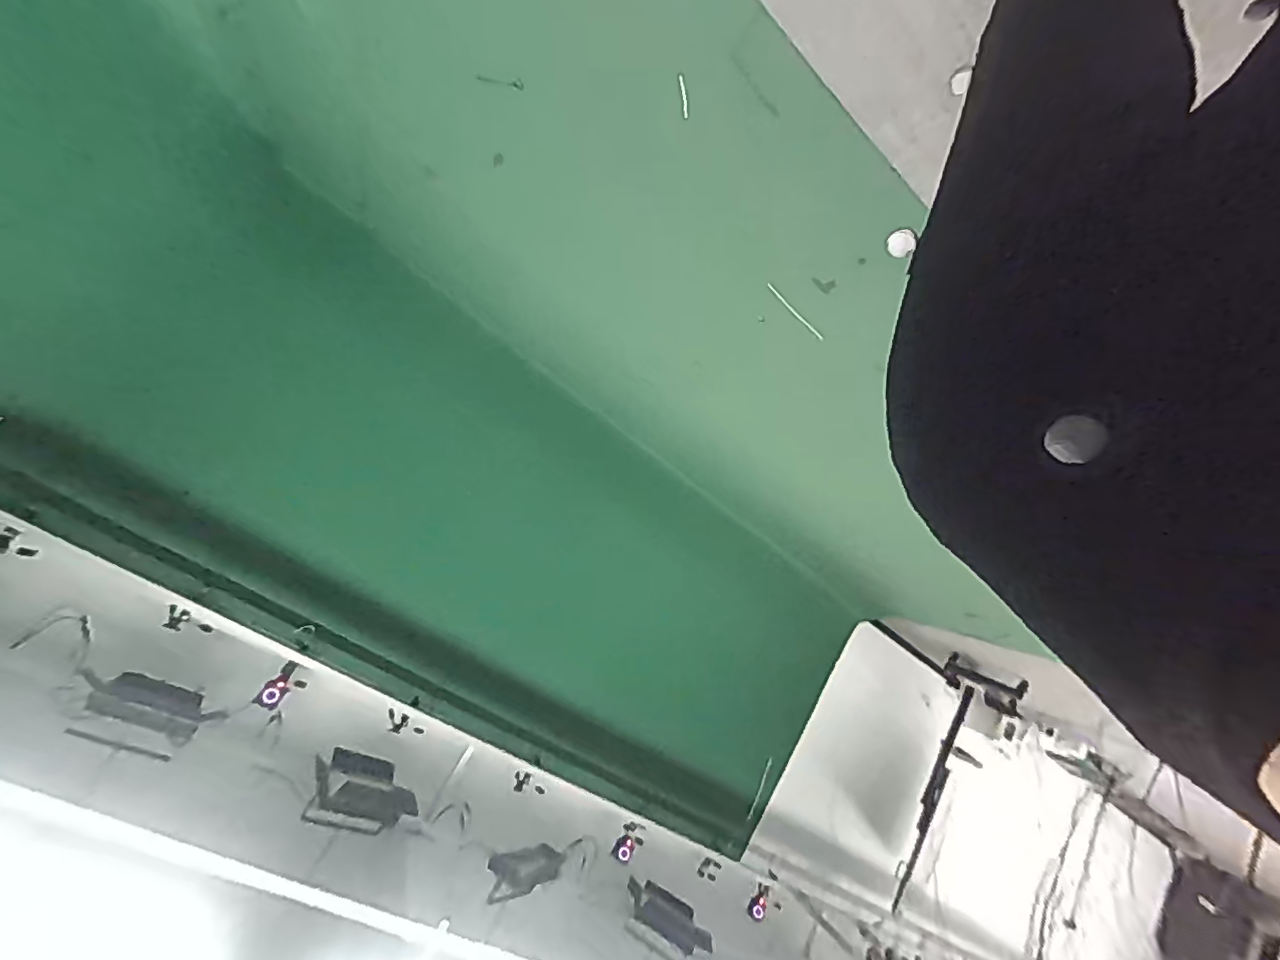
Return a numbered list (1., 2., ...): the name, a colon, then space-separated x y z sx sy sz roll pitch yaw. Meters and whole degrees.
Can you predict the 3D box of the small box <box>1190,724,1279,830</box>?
1. small box: 1.515 0.732 1.324 0.179 0.176 0.168 35 168 -17
